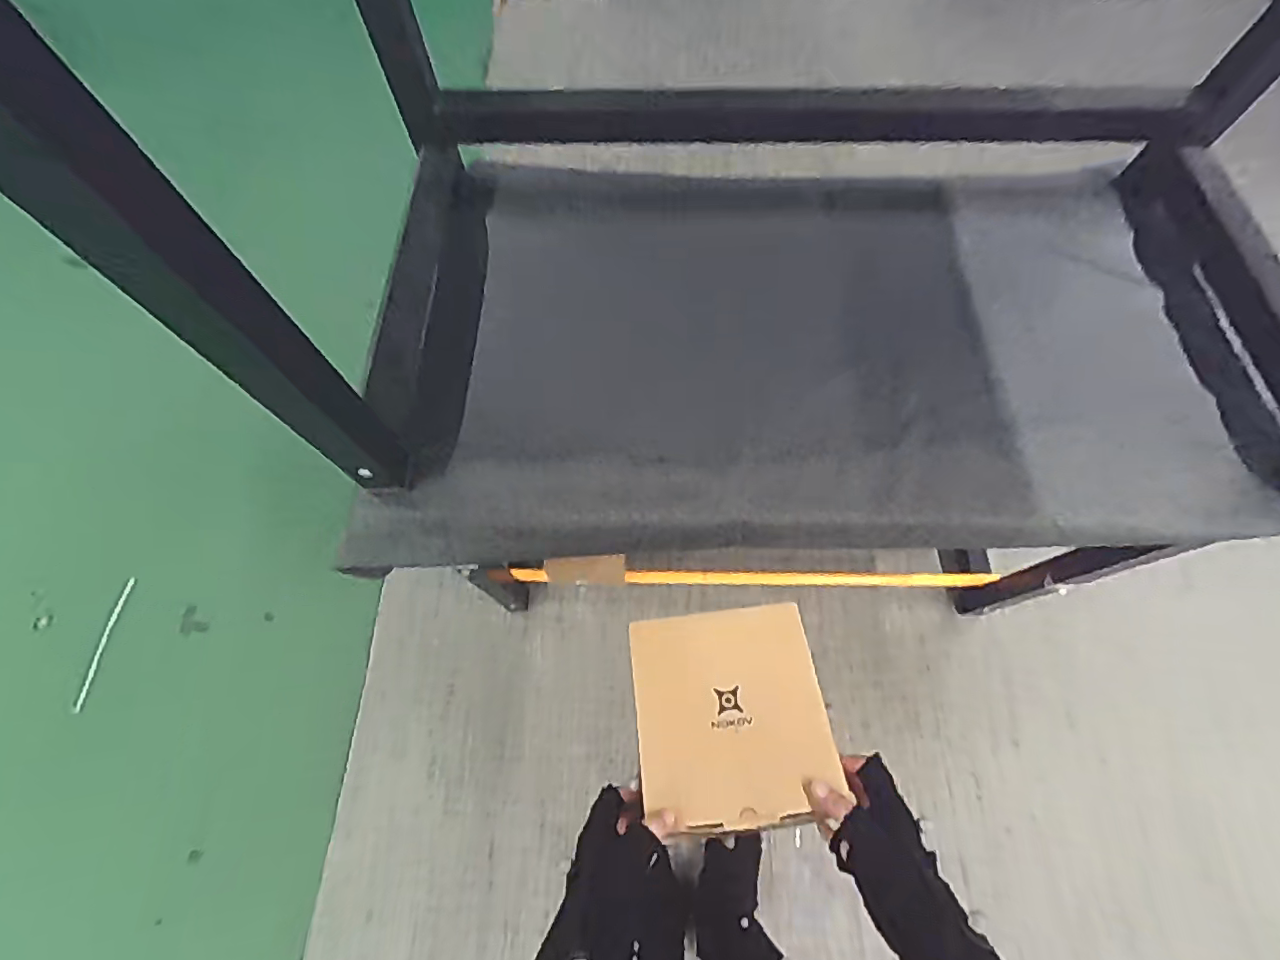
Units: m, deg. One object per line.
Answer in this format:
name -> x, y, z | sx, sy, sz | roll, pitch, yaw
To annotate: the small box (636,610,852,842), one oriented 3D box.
small box -> 0.090, 0.253, 0.549 | 0.168, 0.176, 0.179 | -8, 55, 1
